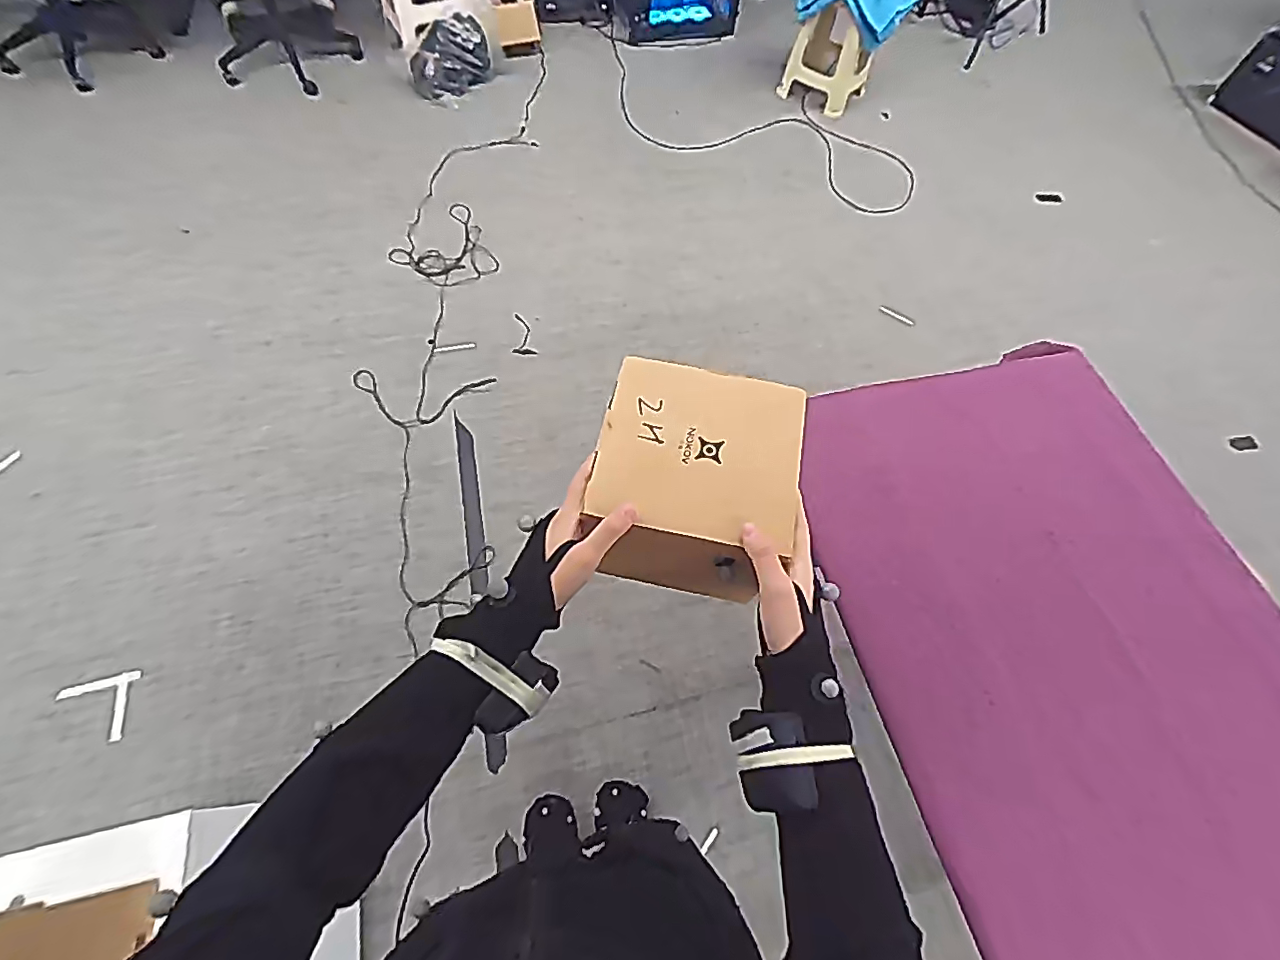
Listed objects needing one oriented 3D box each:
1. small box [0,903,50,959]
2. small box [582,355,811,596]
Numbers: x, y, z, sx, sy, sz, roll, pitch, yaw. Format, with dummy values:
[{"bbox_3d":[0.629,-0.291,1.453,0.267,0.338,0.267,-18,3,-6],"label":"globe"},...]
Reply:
[{"bbox_3d":[-0.647,0.462,0.418,0.179,0.176,0.168,-8,64,-8],"label":"small box"},{"bbox_3d":[0.052,0.006,0.534,0.179,0.176,0.168,11,64,4],"label":"small box"}]
